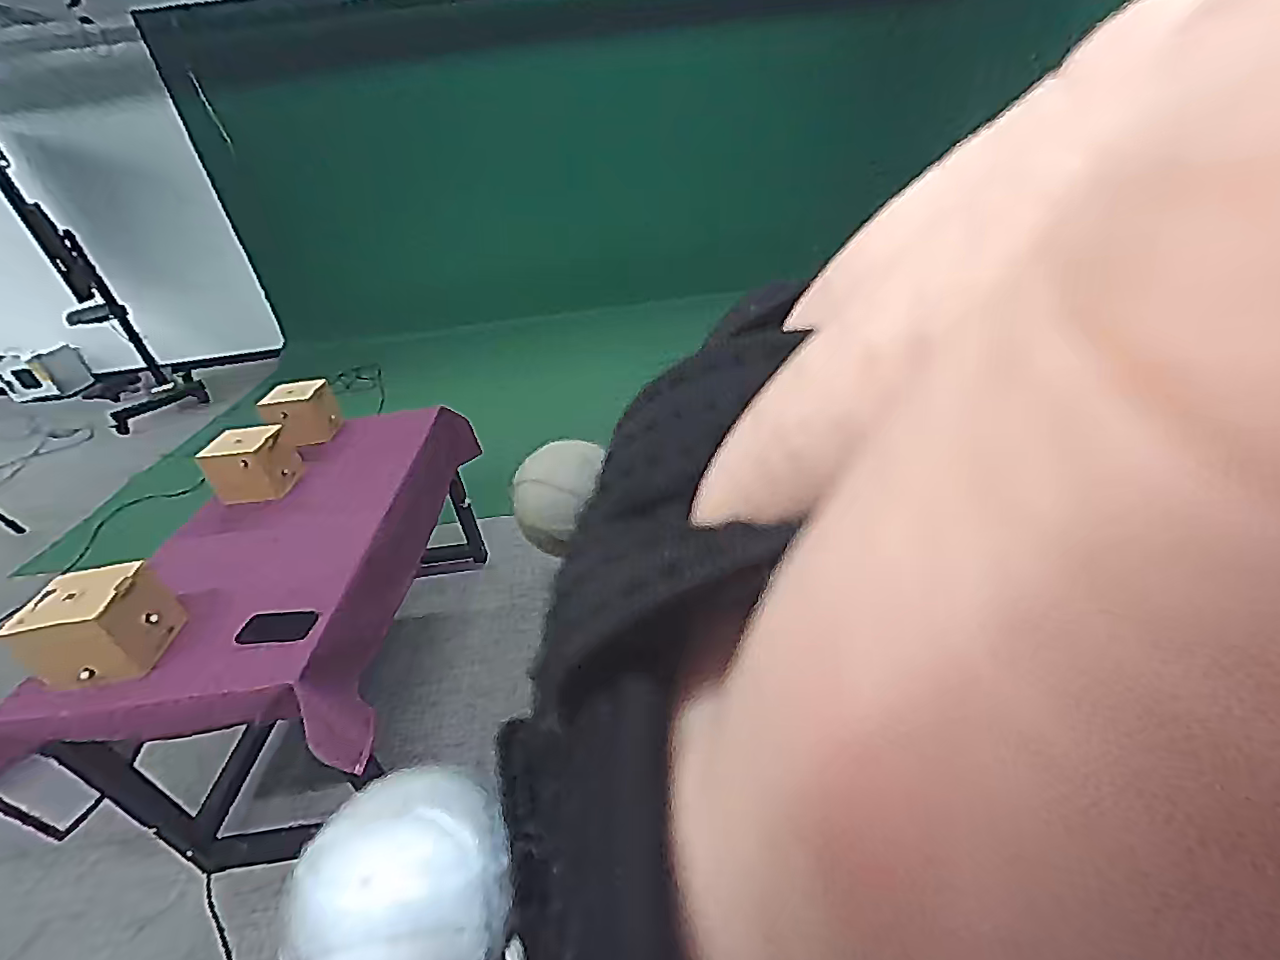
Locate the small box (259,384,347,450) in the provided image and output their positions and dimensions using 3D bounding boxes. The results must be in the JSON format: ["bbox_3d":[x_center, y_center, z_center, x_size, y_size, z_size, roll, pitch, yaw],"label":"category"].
[{"bbox_3d":[-1.174,-0.218,1.899,0.179,0.176,0.168,-8,35,0],"label":"small box"}]

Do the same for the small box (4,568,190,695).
[{"bbox_3d":[-1.080,0.307,1.100,0.179,0.176,0.168,-10,33,-5],"label":"small box"}]

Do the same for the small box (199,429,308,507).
[{"bbox_3d":[-1.151,-0.033,1.625,0.179,0.176,0.168,-7,33,1],"label":"small box"}]
